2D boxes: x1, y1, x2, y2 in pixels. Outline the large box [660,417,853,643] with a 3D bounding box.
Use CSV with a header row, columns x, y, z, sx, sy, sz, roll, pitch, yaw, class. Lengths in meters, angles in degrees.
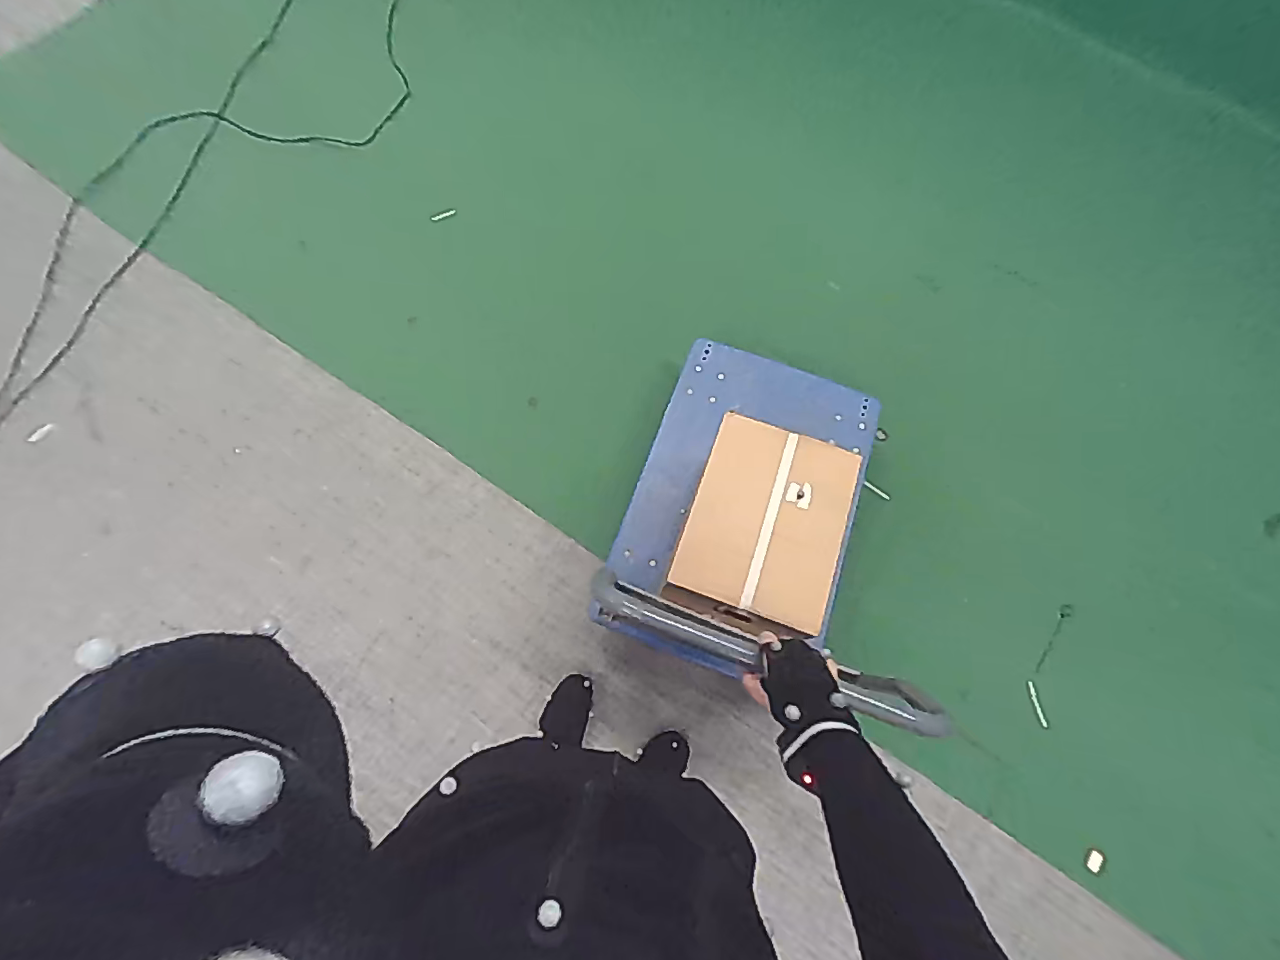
x,y,z,sx,sy,sz,roll,pitch,yaw,class
0.255,0.131,1.267,0.320,0.320,0.408,20,70,4,large box
